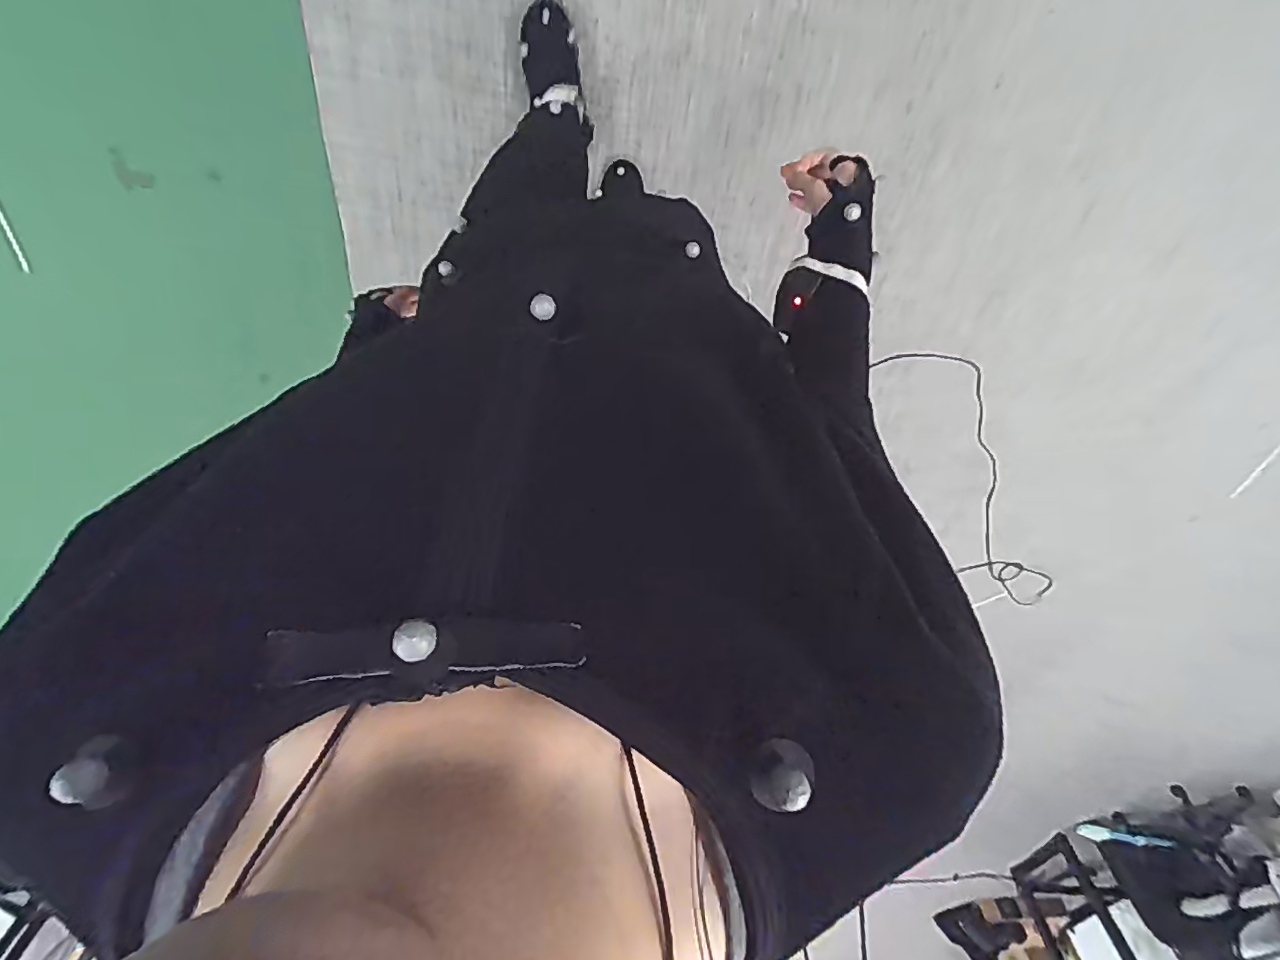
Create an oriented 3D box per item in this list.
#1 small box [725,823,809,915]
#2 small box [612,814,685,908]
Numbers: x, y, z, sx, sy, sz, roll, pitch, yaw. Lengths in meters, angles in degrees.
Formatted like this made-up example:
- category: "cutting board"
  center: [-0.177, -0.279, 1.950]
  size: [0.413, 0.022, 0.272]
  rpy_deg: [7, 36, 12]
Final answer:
- category: "small box"
  center: [0.346, 1.089, 1.519]
  size: [0.179, 0.176, 0.168]
  rpy_deg: [7, 126, -6]
- category: "small box"
  center: [0.017, 1.042, 1.482]
  size: [0.168, 0.176, 0.179]
  rpy_deg: [9, 126, -7]
